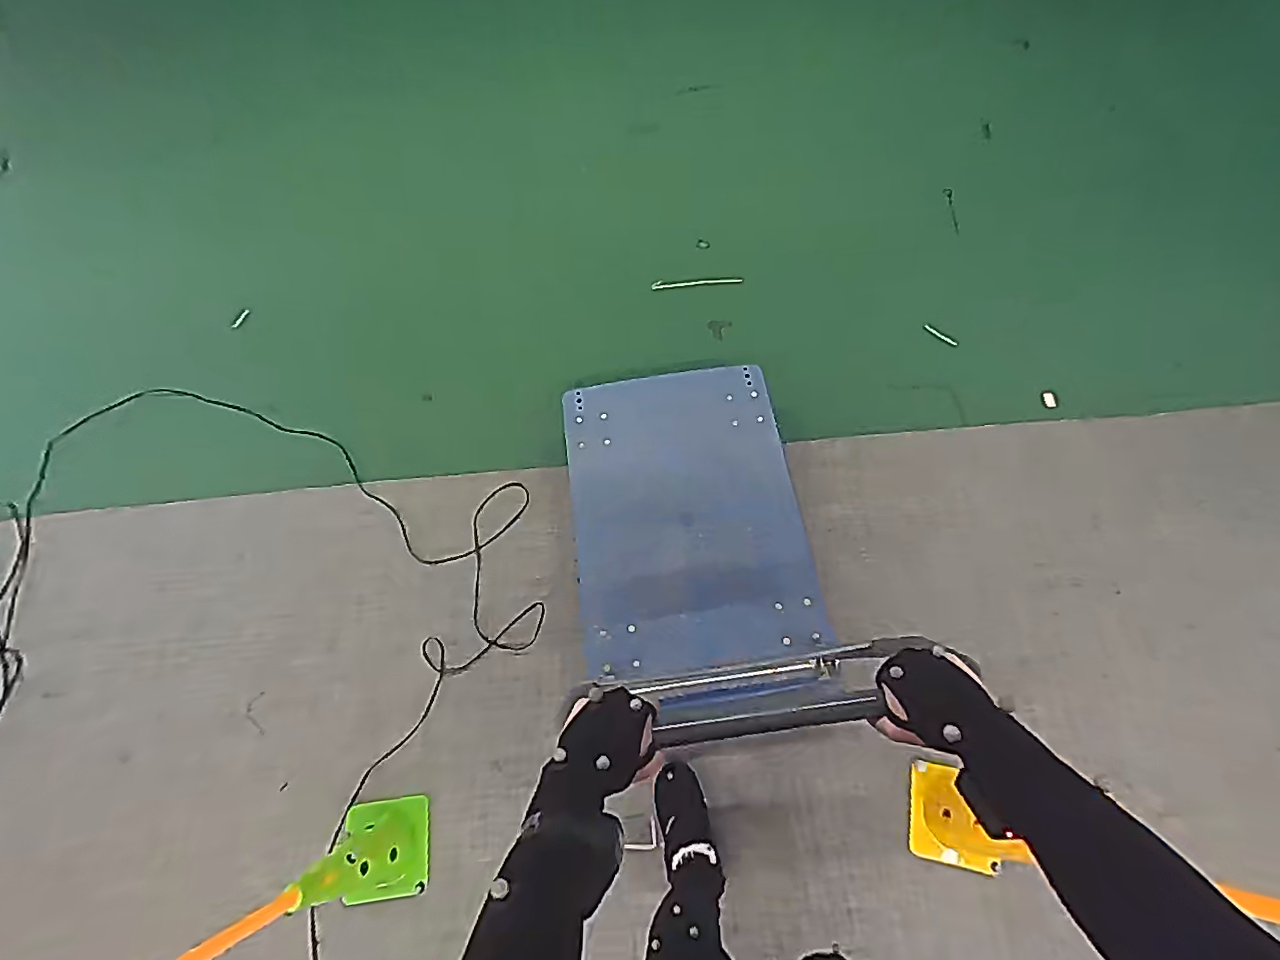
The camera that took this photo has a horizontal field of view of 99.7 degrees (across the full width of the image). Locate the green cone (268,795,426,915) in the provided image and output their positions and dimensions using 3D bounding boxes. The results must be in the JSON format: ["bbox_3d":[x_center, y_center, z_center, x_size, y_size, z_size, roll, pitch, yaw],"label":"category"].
[{"bbox_3d":[-0.613,0.797,1.108,0.202,0.368,0.200,-9,67,1],"label":"green cone"}]
